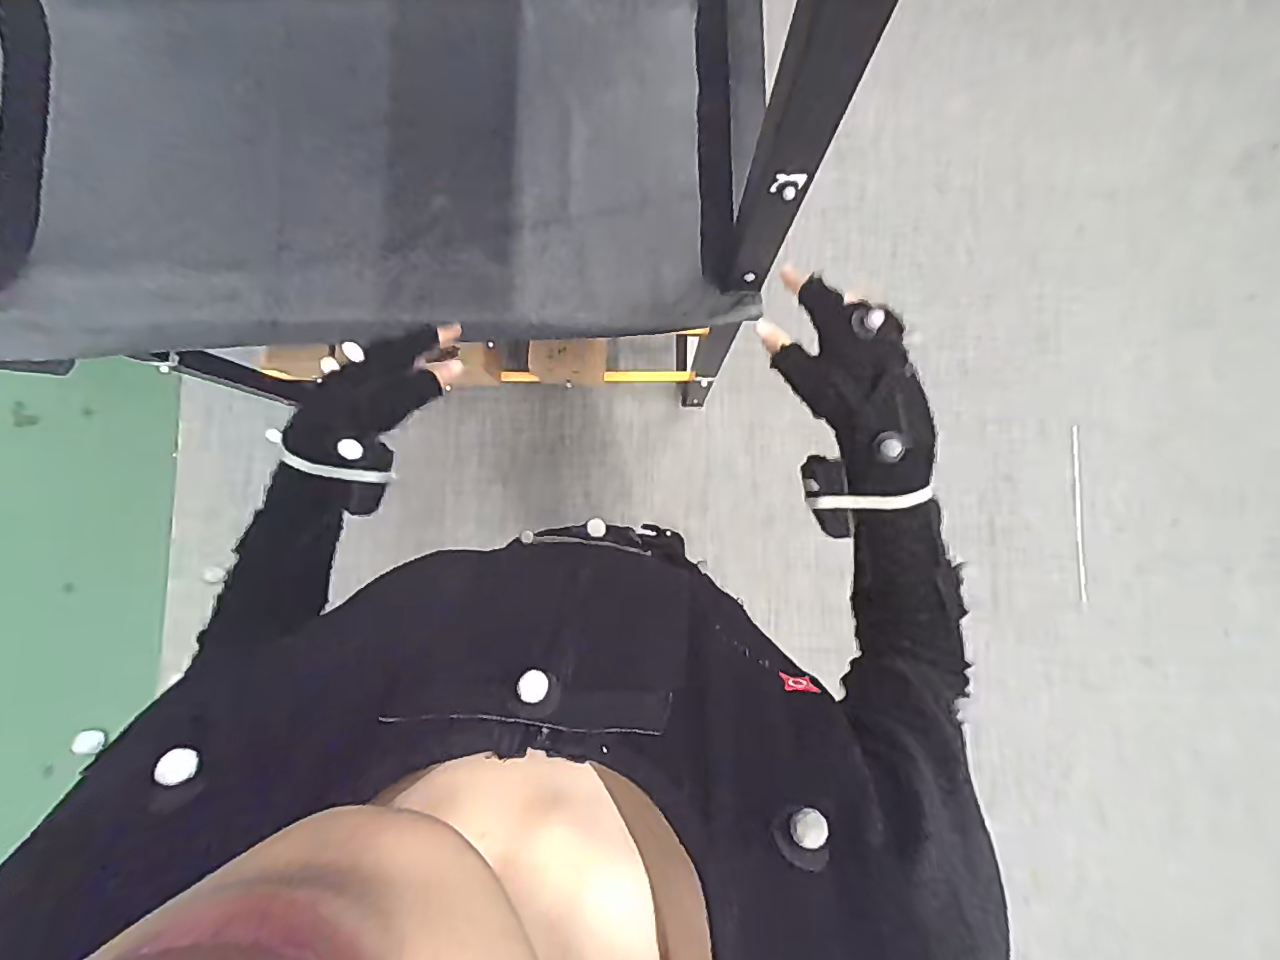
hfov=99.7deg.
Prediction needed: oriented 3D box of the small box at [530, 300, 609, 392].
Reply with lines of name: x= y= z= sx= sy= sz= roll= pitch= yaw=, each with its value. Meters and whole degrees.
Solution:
small box: x=-0.169 y=-0.331 z=1.357 sx=0.168 sy=0.176 sz=0.179 roll=5 pitch=88 yaw=2
